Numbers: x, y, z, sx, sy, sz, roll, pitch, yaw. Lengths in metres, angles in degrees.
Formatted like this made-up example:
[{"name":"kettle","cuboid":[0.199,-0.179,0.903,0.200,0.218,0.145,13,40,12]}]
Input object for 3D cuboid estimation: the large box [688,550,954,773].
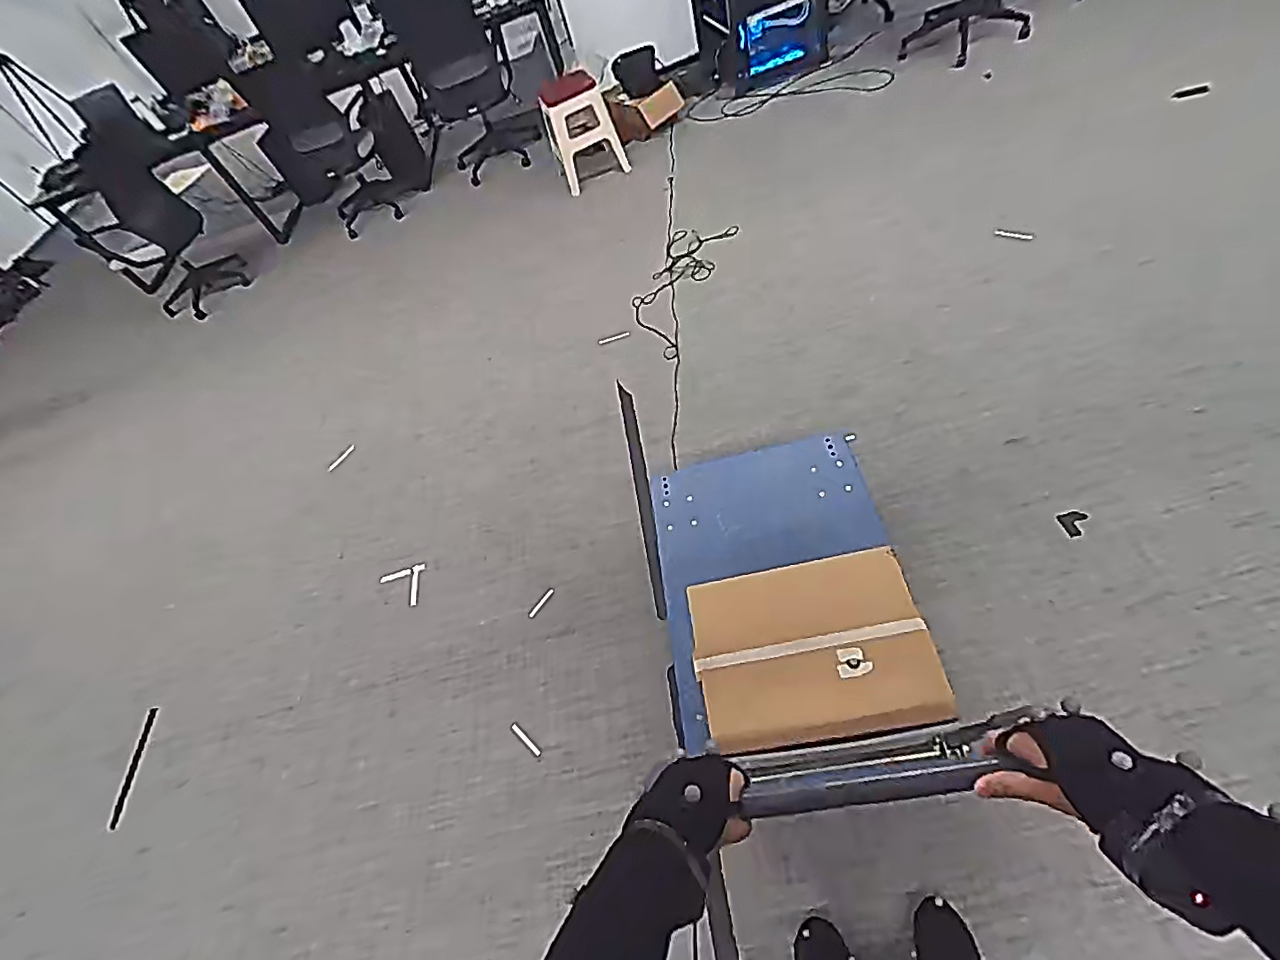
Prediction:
[{"name":"large box","cuboid":[0.342,0.387,1.112,0.408,0.320,0.320,-14,56,8]}]
